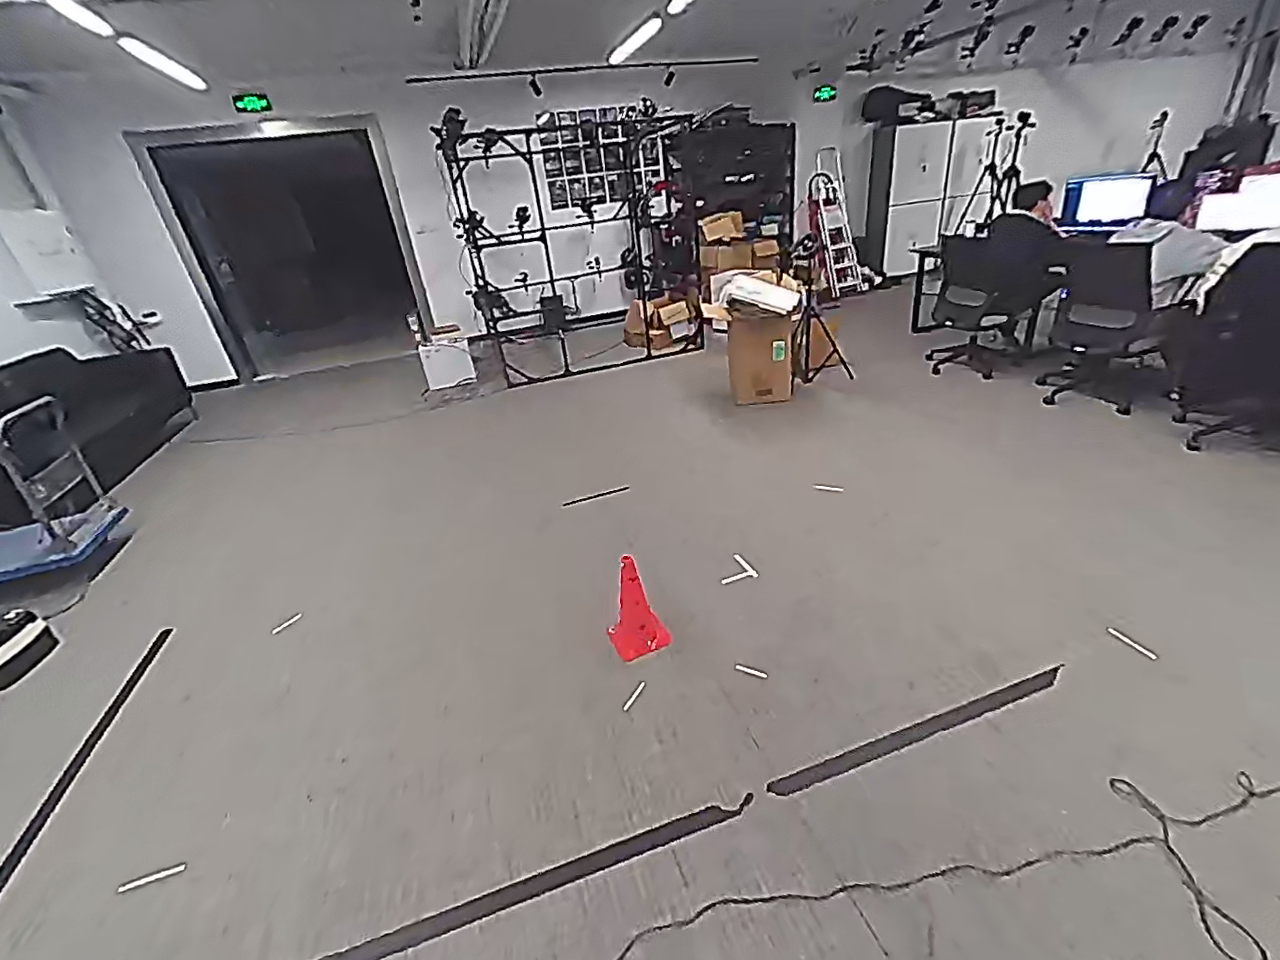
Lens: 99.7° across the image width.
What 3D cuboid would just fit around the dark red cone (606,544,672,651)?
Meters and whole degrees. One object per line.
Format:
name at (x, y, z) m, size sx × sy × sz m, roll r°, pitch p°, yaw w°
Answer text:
dark red cone at (-0.022, 0.395, 1.906) m, size 0.202 × 0.394 × 0.201 m, roll -18°, pitch 30°, yaw -20°
